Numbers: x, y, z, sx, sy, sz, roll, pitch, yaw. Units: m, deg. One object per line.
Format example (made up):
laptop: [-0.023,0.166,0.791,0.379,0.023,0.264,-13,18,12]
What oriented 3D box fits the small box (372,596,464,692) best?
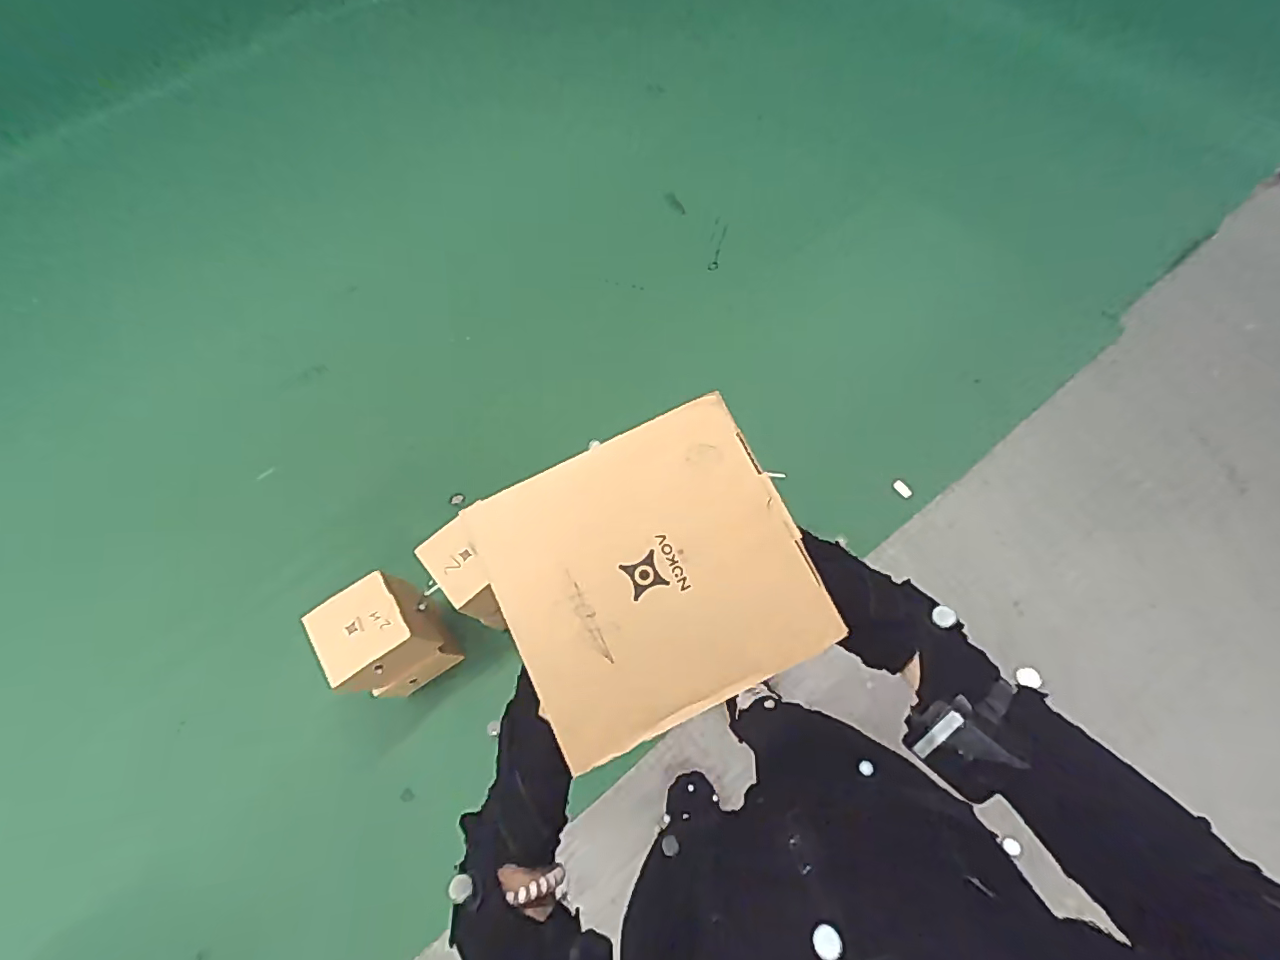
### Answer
small box: [-0.552,0.388,1.305,0.168,0.176,0.179,-32,70,-9]

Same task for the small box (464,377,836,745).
small box: [0.004,0.055,0.397,0.179,0.176,0.168,-25,80,-4]

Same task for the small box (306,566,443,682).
small box: [-0.558,0.315,1.156,0.179,0.176,0.168,-33,70,-10]
